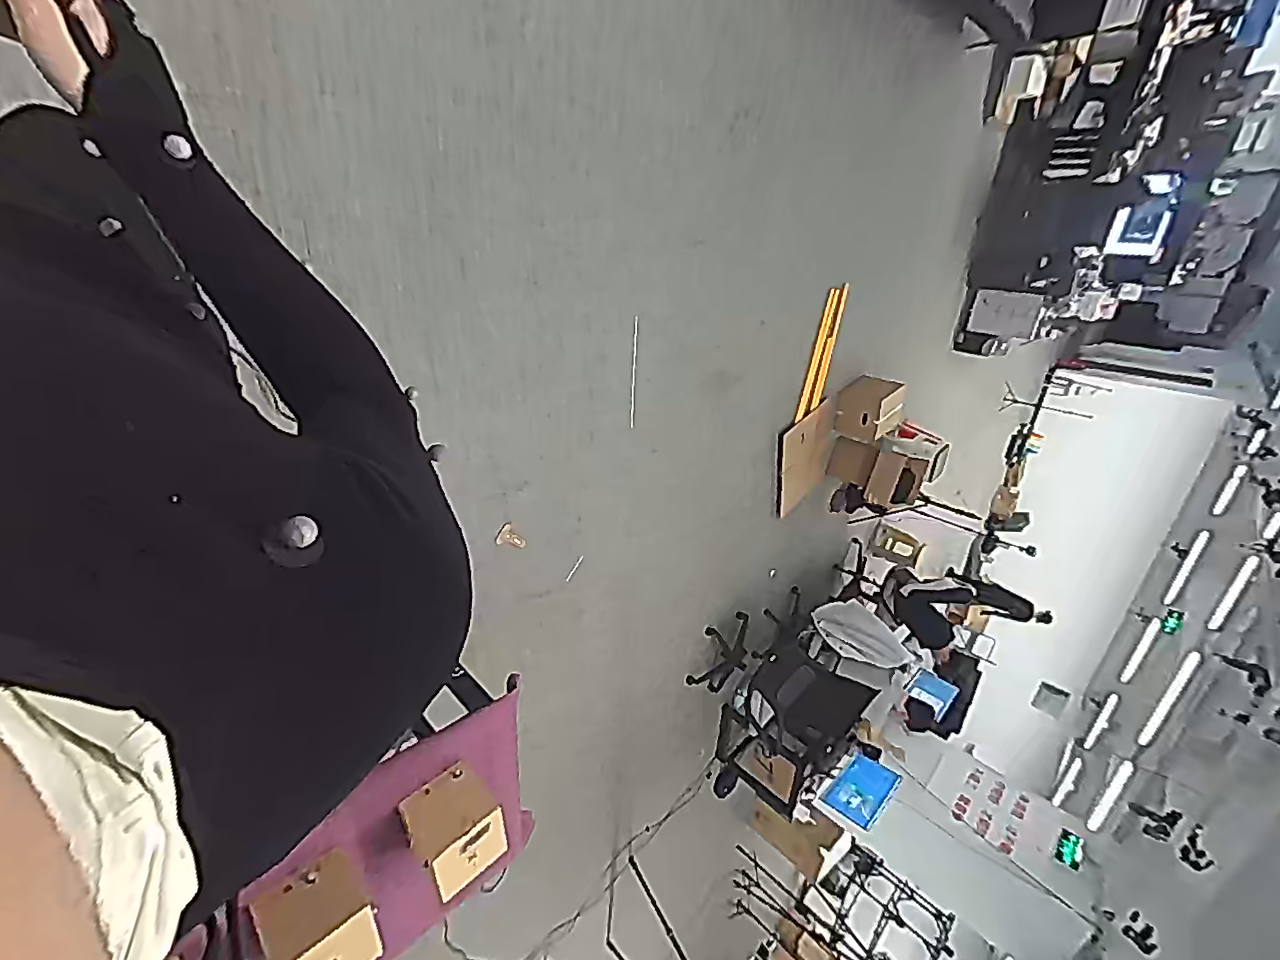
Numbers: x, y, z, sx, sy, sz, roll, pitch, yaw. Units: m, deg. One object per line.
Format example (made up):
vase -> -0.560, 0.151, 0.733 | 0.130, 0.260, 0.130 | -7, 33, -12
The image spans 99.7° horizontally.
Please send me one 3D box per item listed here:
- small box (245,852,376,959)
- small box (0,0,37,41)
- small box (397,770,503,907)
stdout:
small box -> -0.645, 0.891, 1.063 | 0.168, 0.176, 0.179 | -20, 123, -41
small box -> -0.509, -0.426, 0.338 | 0.168, 0.176, 0.179 | -5, 113, -45
small box -> -0.437, 0.809, 1.243 | 0.168, 0.176, 0.179 | -23, 127, -39
